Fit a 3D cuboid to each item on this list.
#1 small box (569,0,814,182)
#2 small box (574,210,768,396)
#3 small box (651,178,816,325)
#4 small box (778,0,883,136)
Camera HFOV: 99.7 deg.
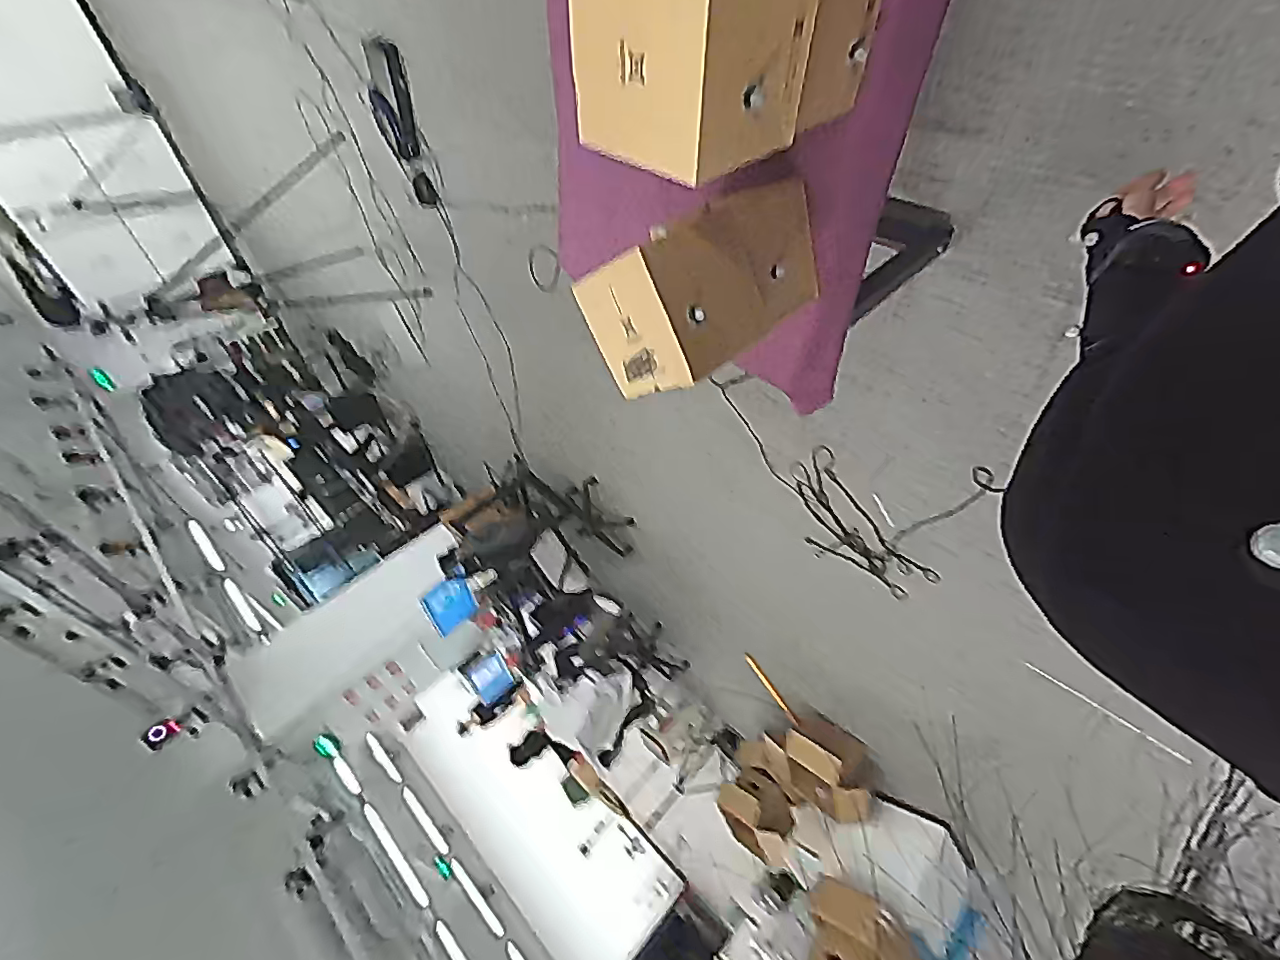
[{"bbox_3d":[0.052,-0.428,0.535,0.179,0.176,0.168,37,149,28],"label":"small box"},{"bbox_3d":[0.047,-0.237,0.745,0.168,0.176,0.179,1,122,55],"label":"small box"},{"bbox_3d":[0.151,-0.334,0.831,0.168,0.176,0.179,15,135,47],"label":"small box"},{"bbox_3d":[0.153,-0.523,0.622,0.179,0.176,0.168,36,148,27],"label":"small box"}]
